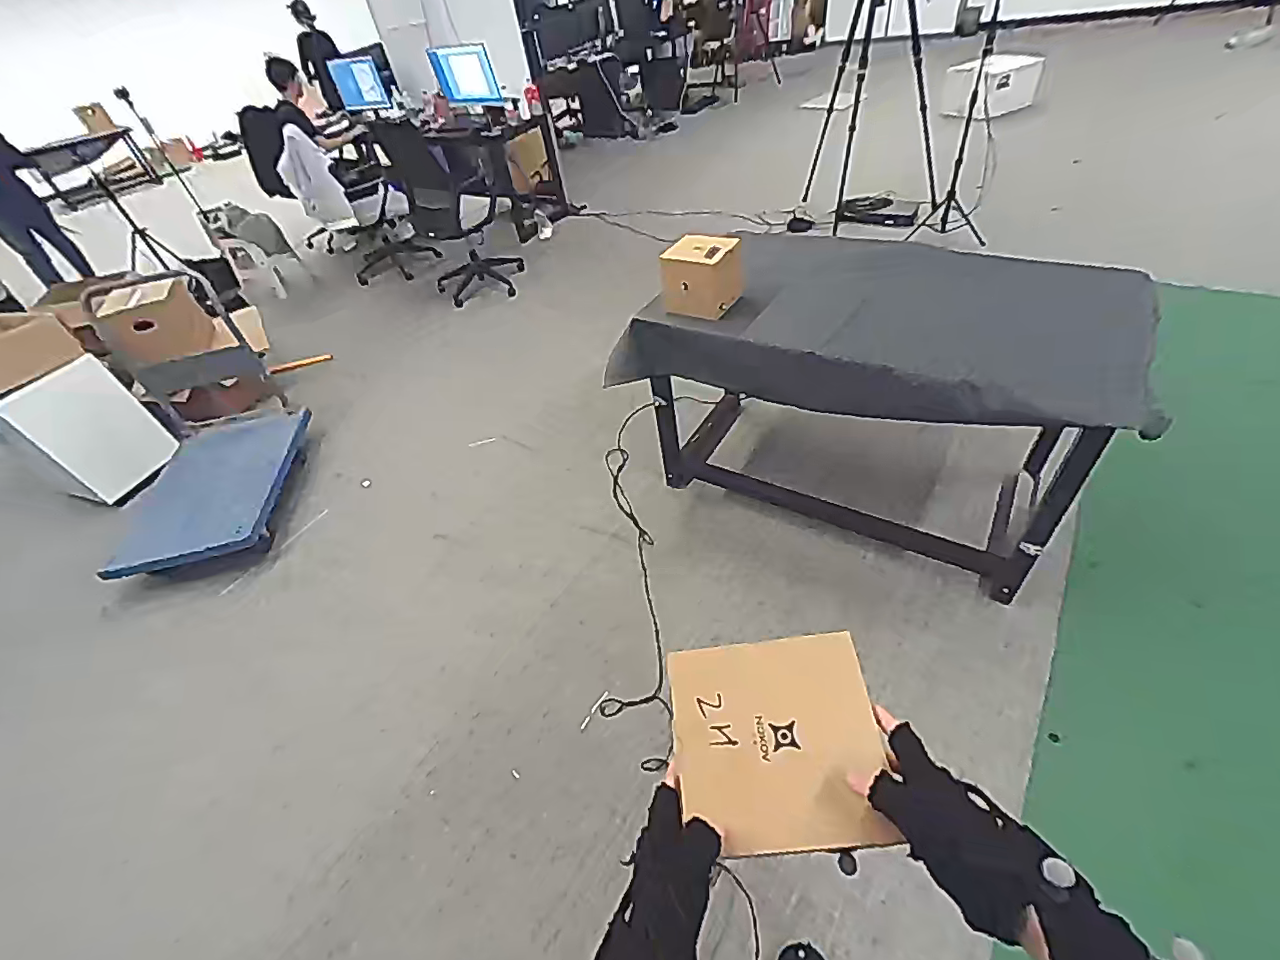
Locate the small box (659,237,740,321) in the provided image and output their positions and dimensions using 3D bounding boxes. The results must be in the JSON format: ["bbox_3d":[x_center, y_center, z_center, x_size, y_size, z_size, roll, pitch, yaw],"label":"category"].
[{"bbox_3d":[0.177,-0.578,1.562,0.179,0.176,0.168,20,52,28],"label":"small box"}]
